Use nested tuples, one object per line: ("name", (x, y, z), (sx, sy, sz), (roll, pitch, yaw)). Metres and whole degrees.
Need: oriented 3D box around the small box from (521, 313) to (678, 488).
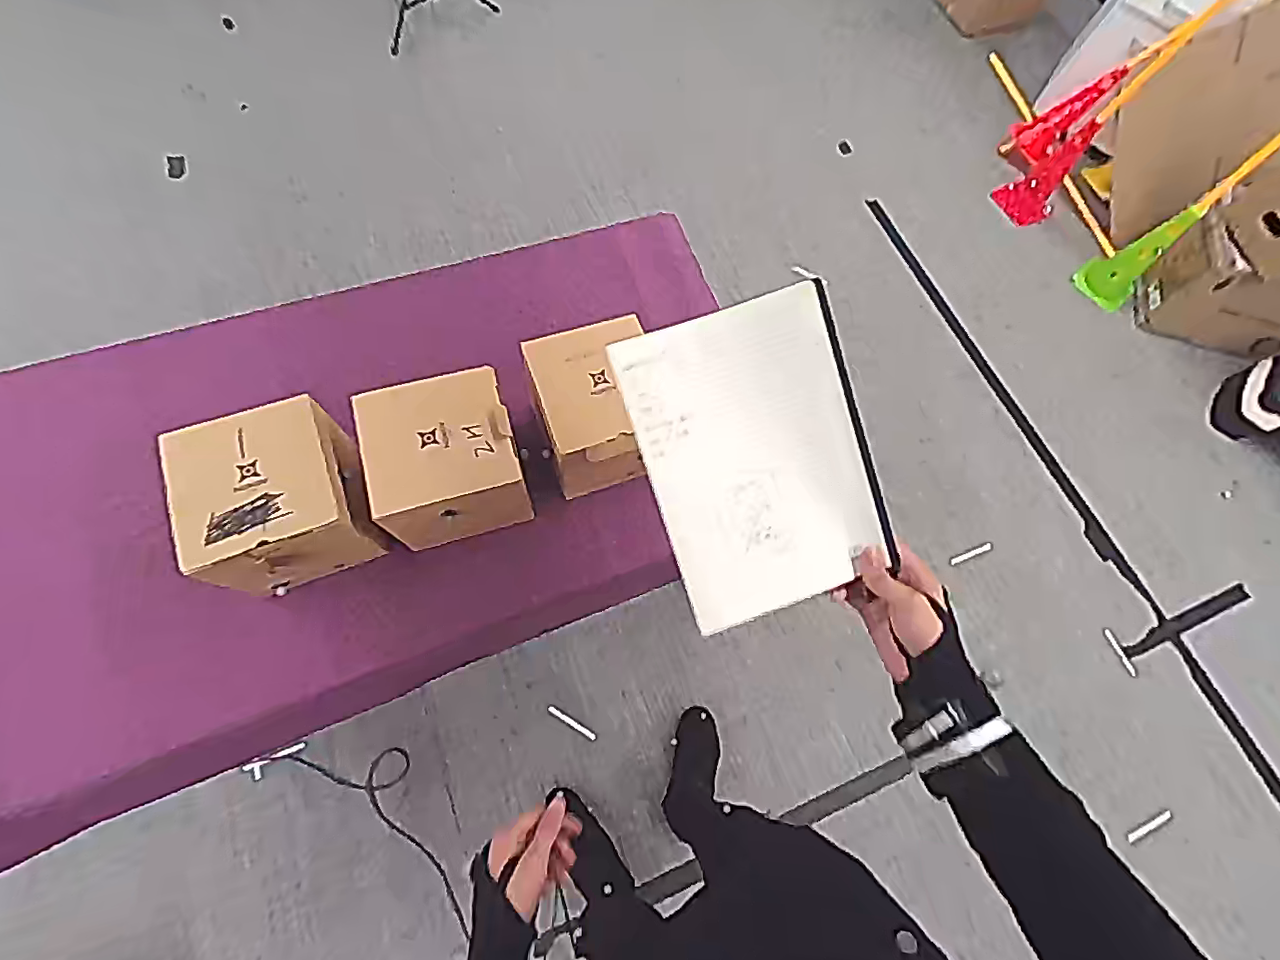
("small box", (-0.060, -0.102, 0.774), (0.168, 0.176, 0.179), (-18, 72, -12))
